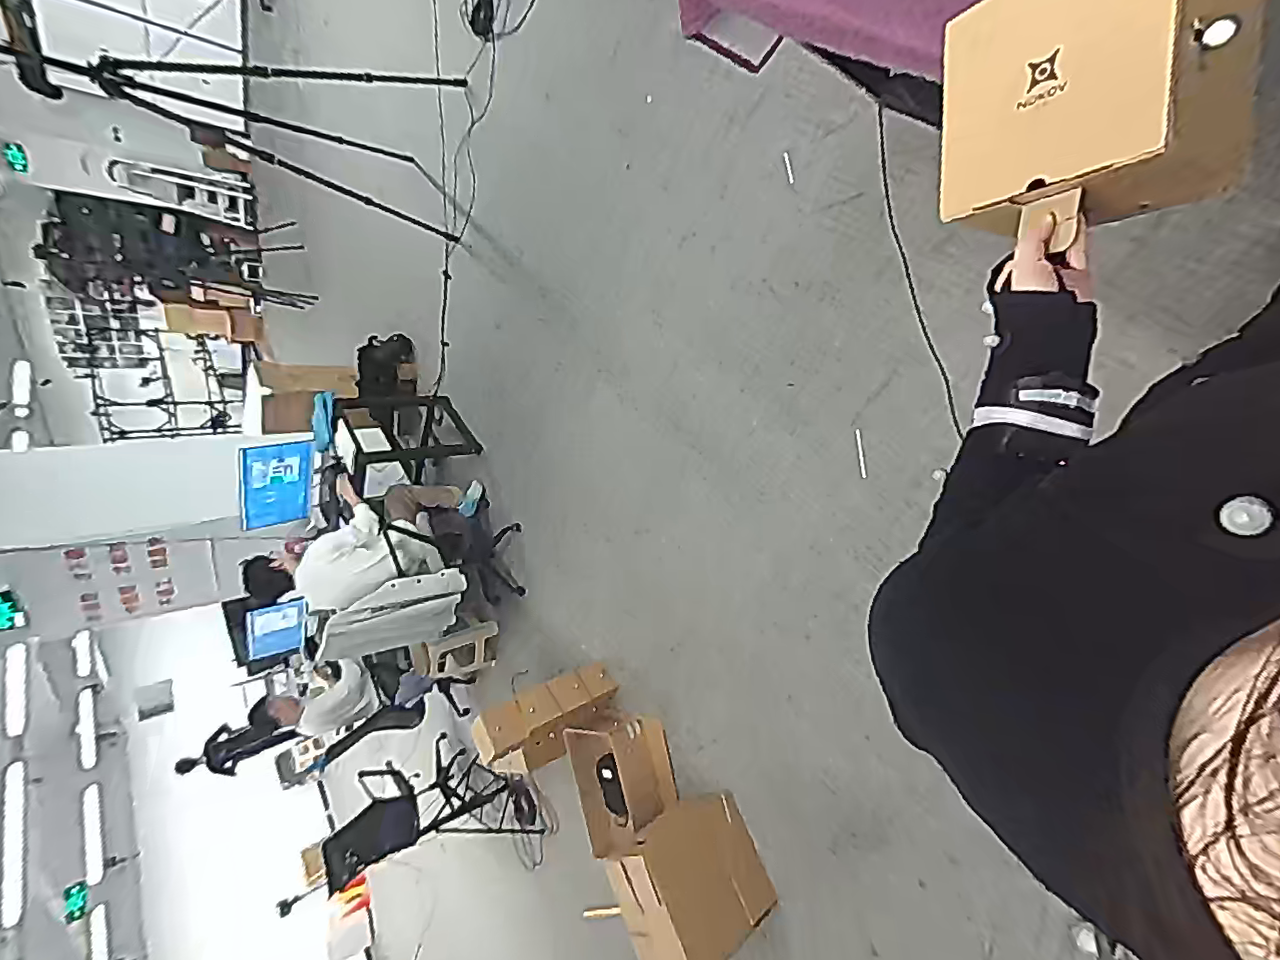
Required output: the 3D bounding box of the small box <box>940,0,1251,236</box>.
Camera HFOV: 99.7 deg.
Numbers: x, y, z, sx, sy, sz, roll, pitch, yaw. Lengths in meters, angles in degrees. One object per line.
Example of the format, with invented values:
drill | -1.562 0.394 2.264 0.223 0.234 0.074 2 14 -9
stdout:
small box | 0.403 -0.340 0.488 0.168 0.176 0.179 12 107 59
